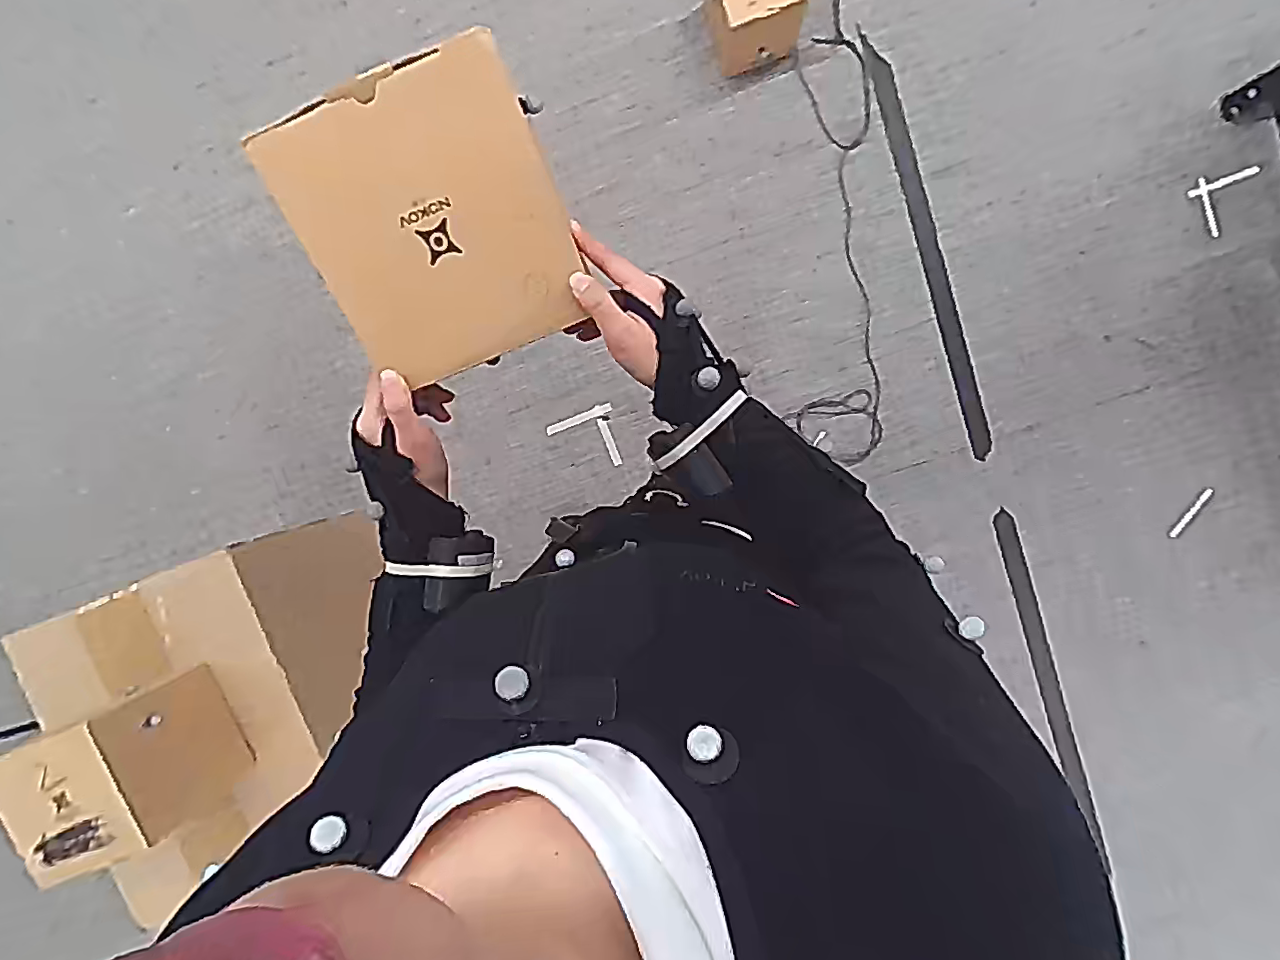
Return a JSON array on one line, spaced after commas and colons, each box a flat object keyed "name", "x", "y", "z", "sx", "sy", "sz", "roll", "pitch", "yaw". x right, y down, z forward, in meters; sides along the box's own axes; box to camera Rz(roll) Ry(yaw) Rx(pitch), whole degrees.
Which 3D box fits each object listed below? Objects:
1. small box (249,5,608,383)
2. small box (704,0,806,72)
[{"name": "small box", "x": -0.129, "y": -0.201, "z": 0.414, "sx": 0.168, "sy": 0.176, "sz": 0.179, "roll": -20, "pitch": 115, "yaw": 5}, {"name": "small box", "x": 0.235, "y": -1.024, "z": 1.142, "sx": 0.168, "sy": 0.176, "sz": 0.179, "roll": -17, "pitch": 95, "yaw": 7}]
